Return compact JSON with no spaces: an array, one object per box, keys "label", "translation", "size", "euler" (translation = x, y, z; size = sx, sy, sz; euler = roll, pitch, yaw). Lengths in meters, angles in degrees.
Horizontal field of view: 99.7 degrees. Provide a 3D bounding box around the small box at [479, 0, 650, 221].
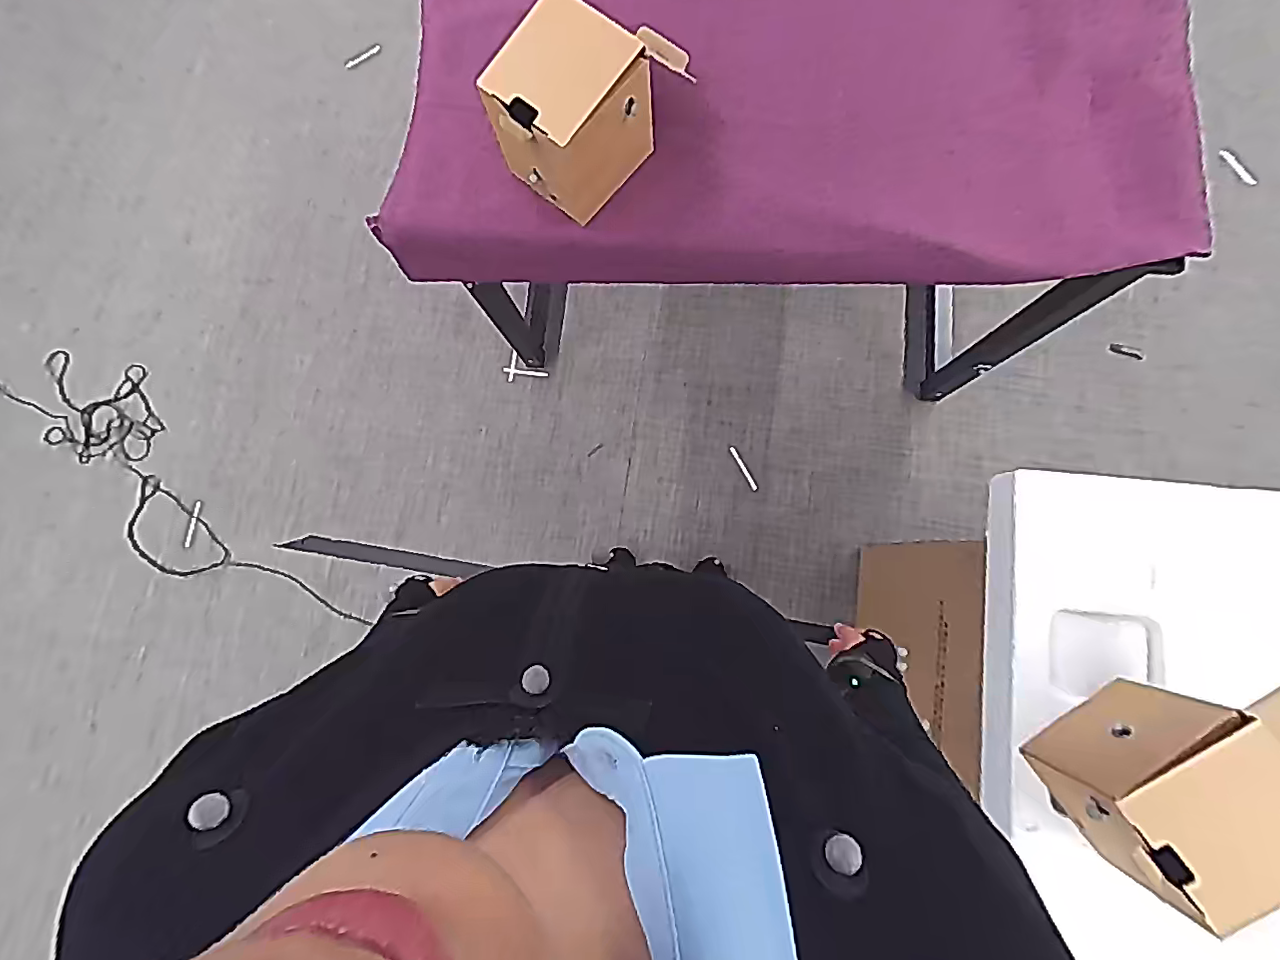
[{"label":"small box","translation":[-0.101,-0.537,0.806],"size":[0.168,0.176,0.179],"euler":[40,85,9]}]
